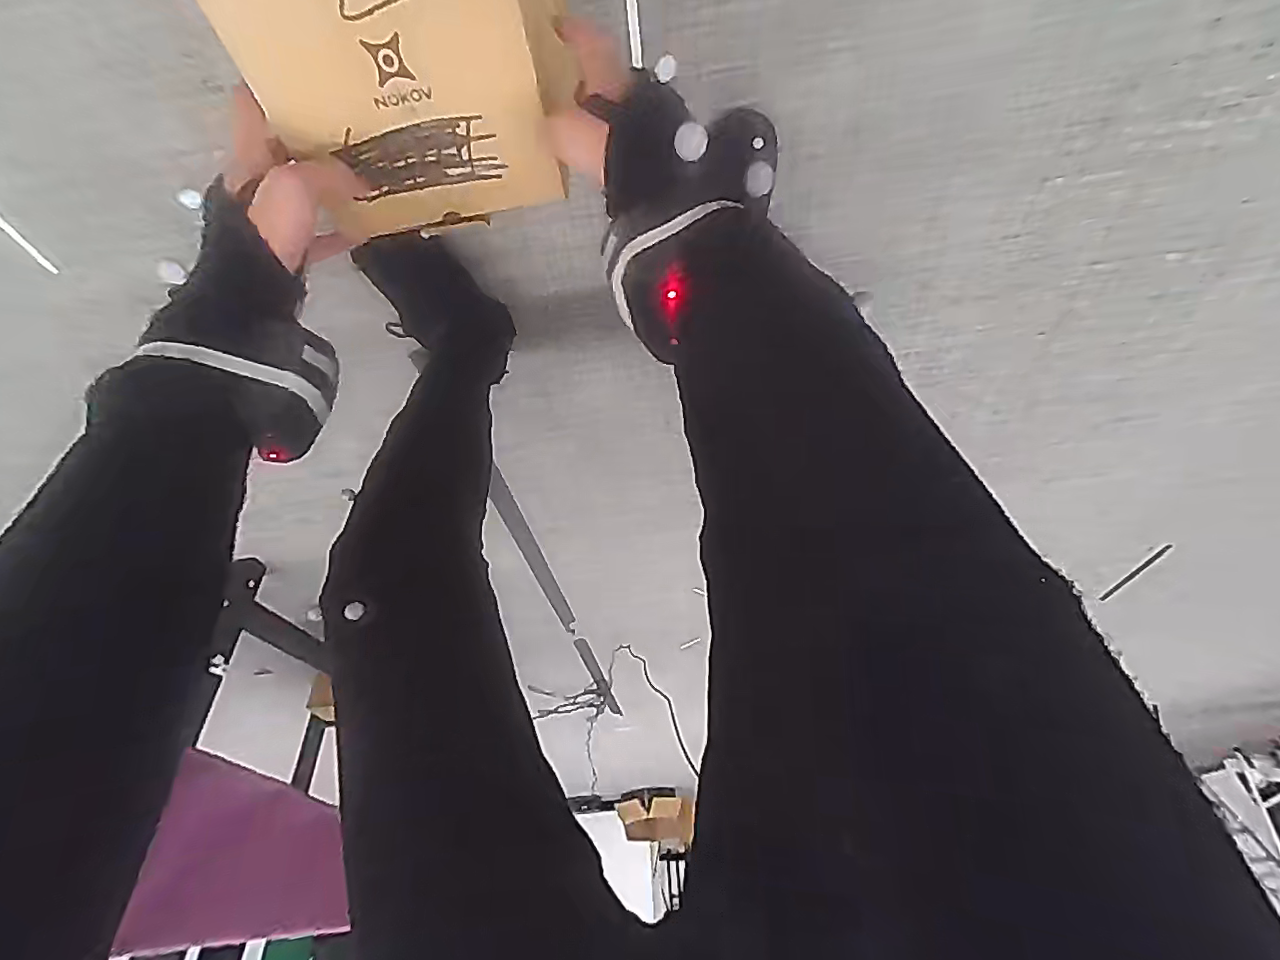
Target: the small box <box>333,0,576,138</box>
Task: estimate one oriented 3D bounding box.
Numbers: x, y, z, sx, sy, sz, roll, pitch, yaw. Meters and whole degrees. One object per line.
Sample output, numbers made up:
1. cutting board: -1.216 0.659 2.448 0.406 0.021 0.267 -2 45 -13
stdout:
1. small box: -0.156 -0.433 0.457 0.168 0.176 0.179 -9 144 6
